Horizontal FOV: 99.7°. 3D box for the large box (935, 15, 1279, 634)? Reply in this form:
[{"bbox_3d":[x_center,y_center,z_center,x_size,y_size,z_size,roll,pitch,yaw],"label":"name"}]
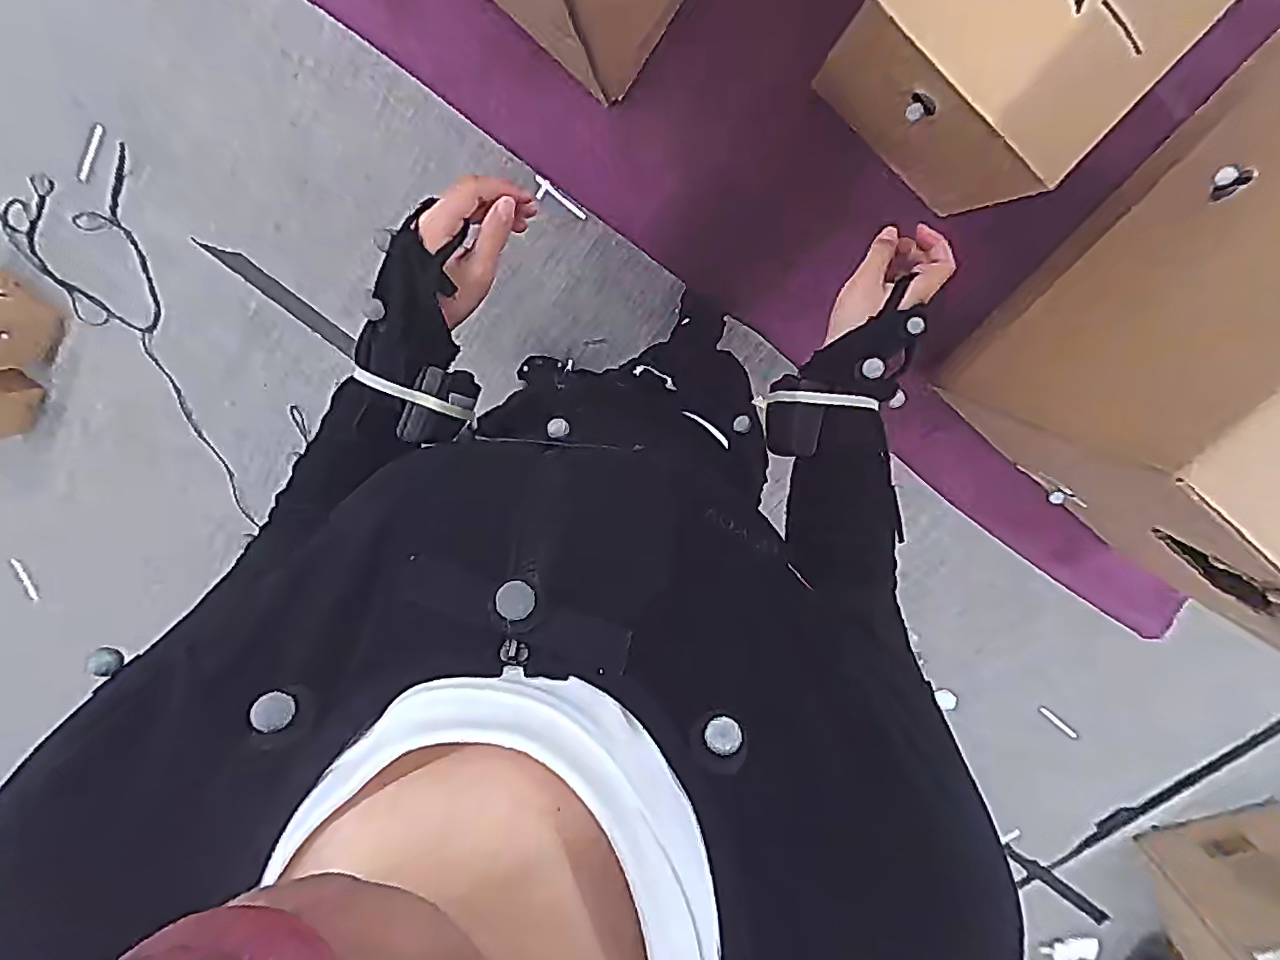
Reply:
[{"bbox_3d":[0.525,-0.112,0.385,0.320,0.320,0.408,37,107,-10],"label":"large box"}]

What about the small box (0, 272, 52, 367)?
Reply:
[{"bbox_3d":[-1.581,-0.385,1.288,0.168,0.176,0.179,43,108,-10],"label":"small box"}]
